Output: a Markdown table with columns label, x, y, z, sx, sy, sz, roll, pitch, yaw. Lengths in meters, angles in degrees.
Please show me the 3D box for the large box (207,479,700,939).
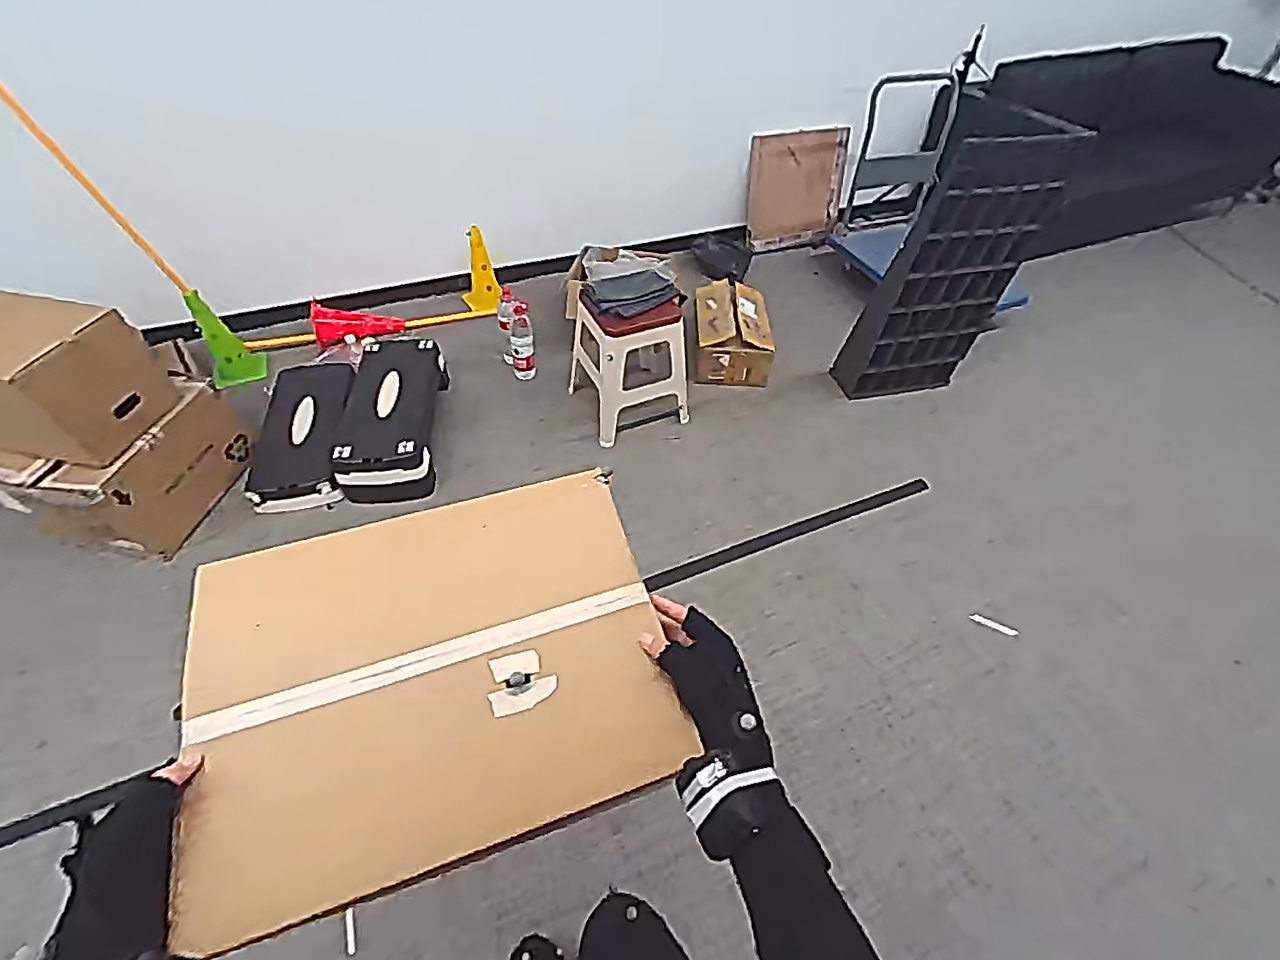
| label | x | y | z | sx | sy | sz | roll | pitch | yaw |
| --- | --- | --- | --- | --- | --- | --- | --- | --- | --- |
| large box | -0.191 | 0.248 | 0.636 | 0.408 | 0.320 | 0.320 | -14 | 60 | -14 |
